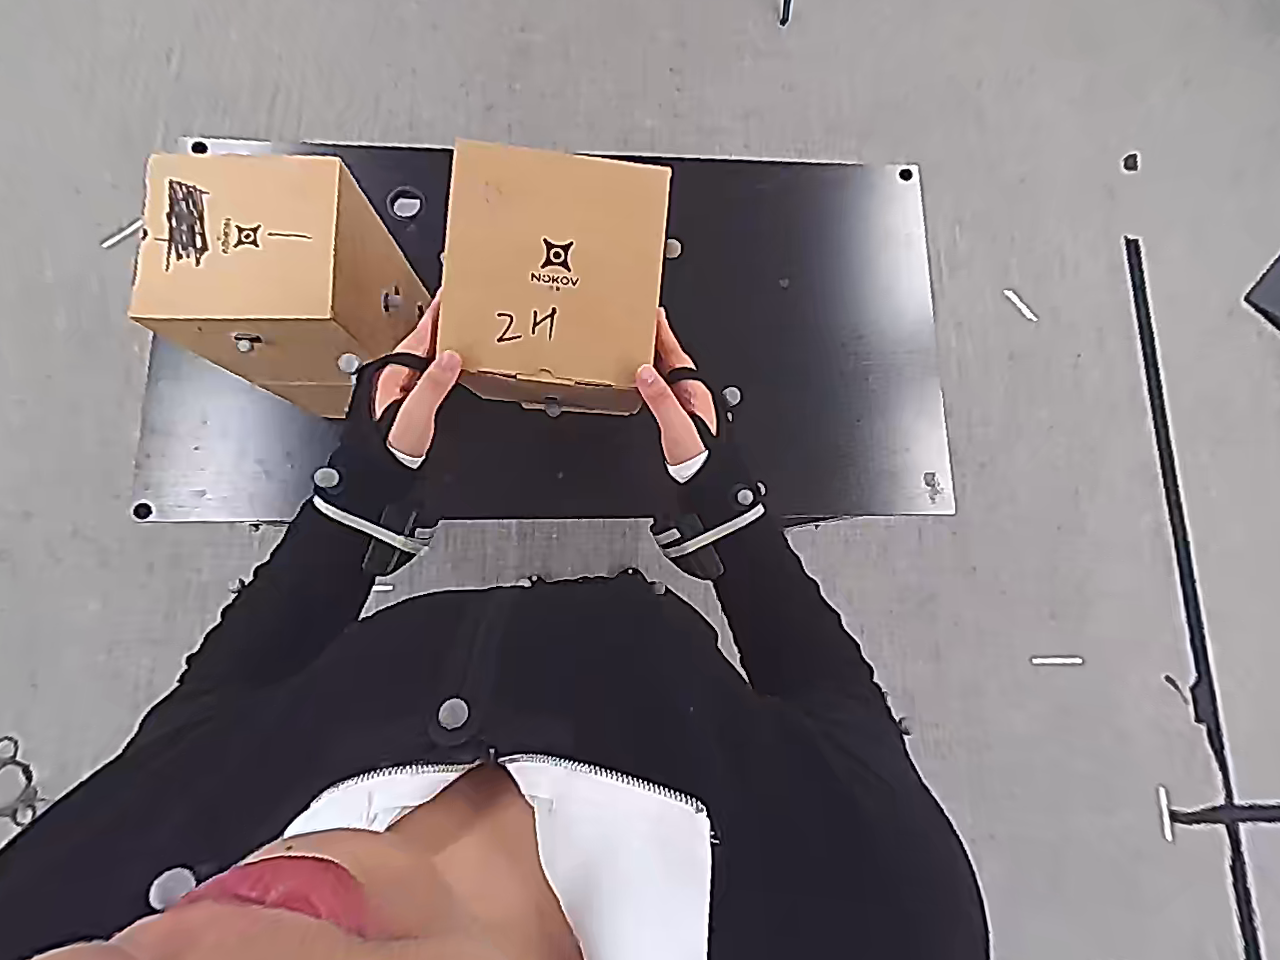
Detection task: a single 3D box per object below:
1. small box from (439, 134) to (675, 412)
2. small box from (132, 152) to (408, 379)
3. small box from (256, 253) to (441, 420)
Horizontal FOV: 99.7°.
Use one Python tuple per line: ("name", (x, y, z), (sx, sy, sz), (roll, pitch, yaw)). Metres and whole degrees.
("small box", (-0.069, -0.166, 0.490), (0.168, 0.176, 0.179), (5, 90, -4))
("small box", (-0.369, -0.212, 0.575), (0.179, 0.176, 0.168), (-1, 81, -4))
("small box", (-0.380, -0.188, 0.737), (0.168, 0.176, 0.179), (0, 82, -3))
